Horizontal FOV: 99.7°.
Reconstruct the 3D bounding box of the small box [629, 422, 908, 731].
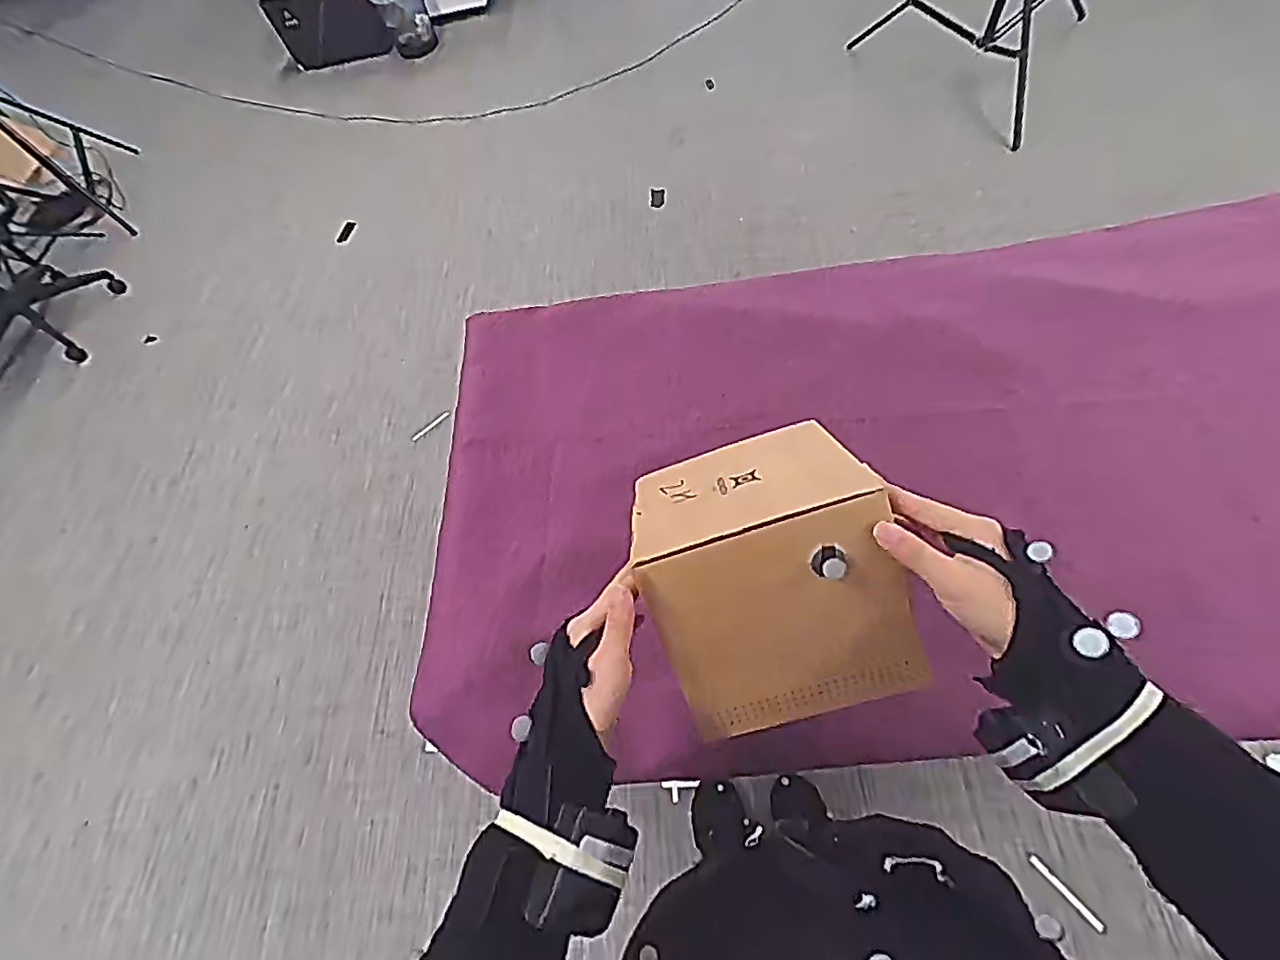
[{"bbox_3d":[0.104,0.075,0.456,0.179,0.176,0.168,-19,19,9],"label":"small box"}]
